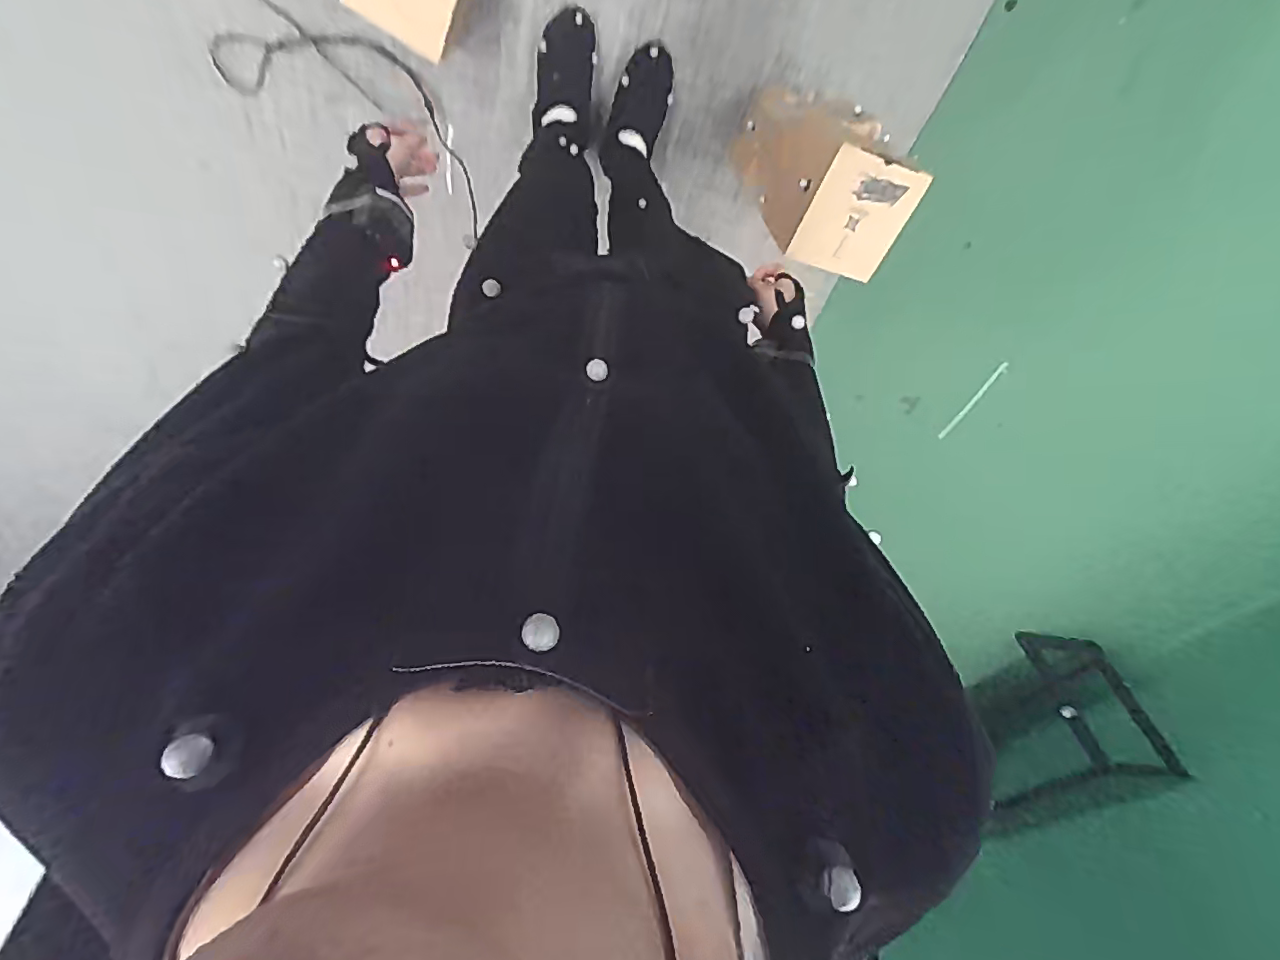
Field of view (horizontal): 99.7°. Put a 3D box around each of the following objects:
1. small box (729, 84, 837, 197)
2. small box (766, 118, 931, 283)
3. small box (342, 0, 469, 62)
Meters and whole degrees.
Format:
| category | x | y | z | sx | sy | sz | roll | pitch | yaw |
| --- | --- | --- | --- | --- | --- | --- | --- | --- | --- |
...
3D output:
| category | x | y | z | sx | sy | sz | roll | pitch | yaw |
| --- | --- | --- | --- | --- | --- | --- | --- | --- | --- |
| small box | 0.308 | -0.697 | 1.137 | 0.179 | 0.176 | 0.168 | 18 | 132 | -21 |
| small box | 0.331 | -0.467 | 0.902 | 0.168 | 0.176 | 0.179 | 10 | 135 | -16 |
| small box | -0.380 | -0.860 | 0.908 | 0.168 | 0.176 | 0.179 | 22 | 130 | -24 |
